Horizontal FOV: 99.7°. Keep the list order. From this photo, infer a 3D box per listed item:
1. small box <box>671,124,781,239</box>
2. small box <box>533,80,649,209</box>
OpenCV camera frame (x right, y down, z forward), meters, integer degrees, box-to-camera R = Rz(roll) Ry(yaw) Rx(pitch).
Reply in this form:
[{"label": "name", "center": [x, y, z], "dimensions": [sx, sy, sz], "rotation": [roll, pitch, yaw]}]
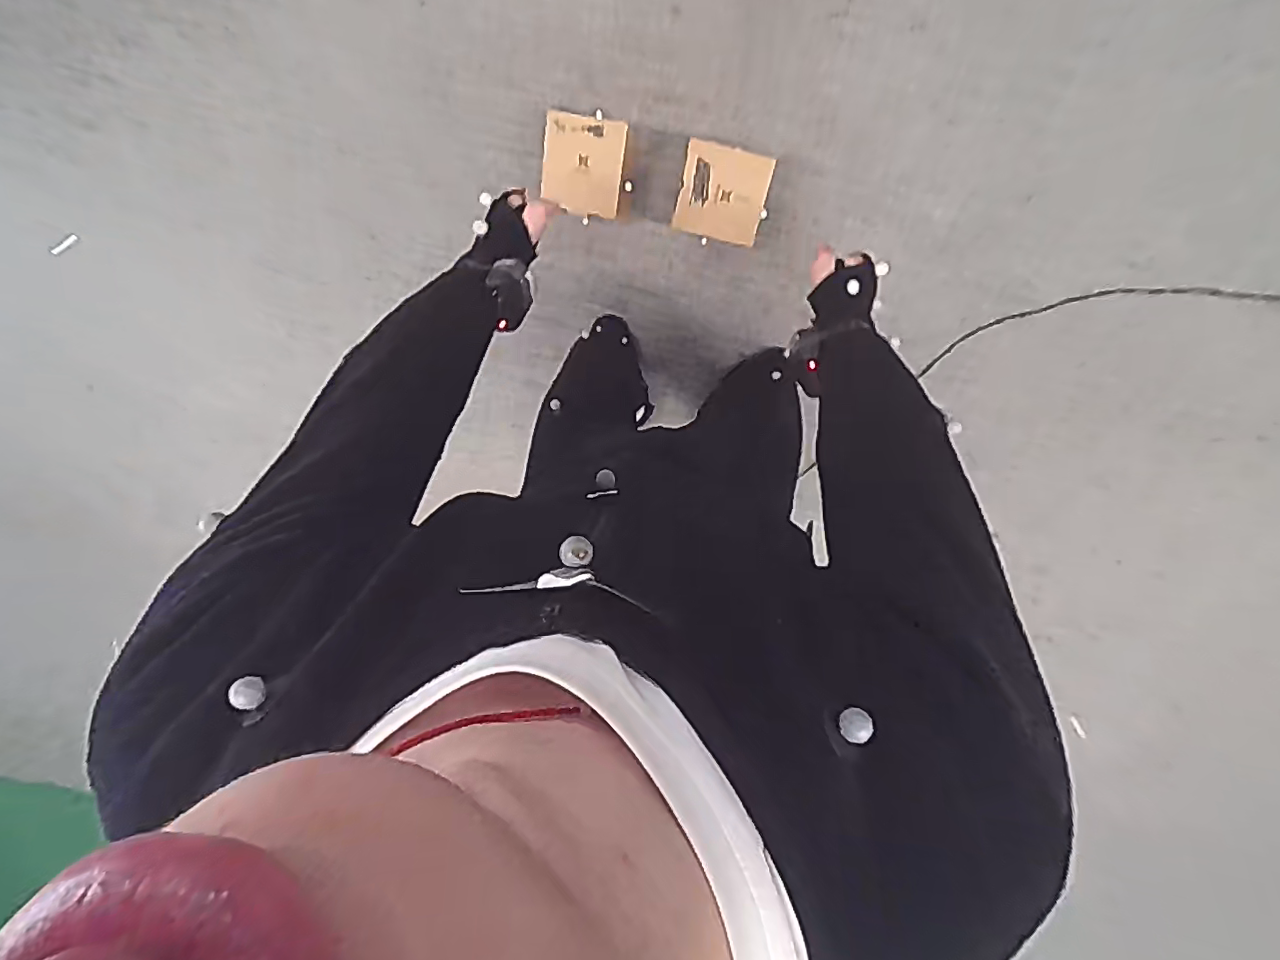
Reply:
[{"label": "small box", "center": [0.181, -0.622, 1.149], "dimensions": [0.179, 0.176, 0.168], "rotation": [20, 115, 1]}, {"label": "small box", "center": [-0.096, -0.701, 1.155], "dimensions": [0.179, 0.176, 0.168], "rotation": [-15, 107, 16]}]
